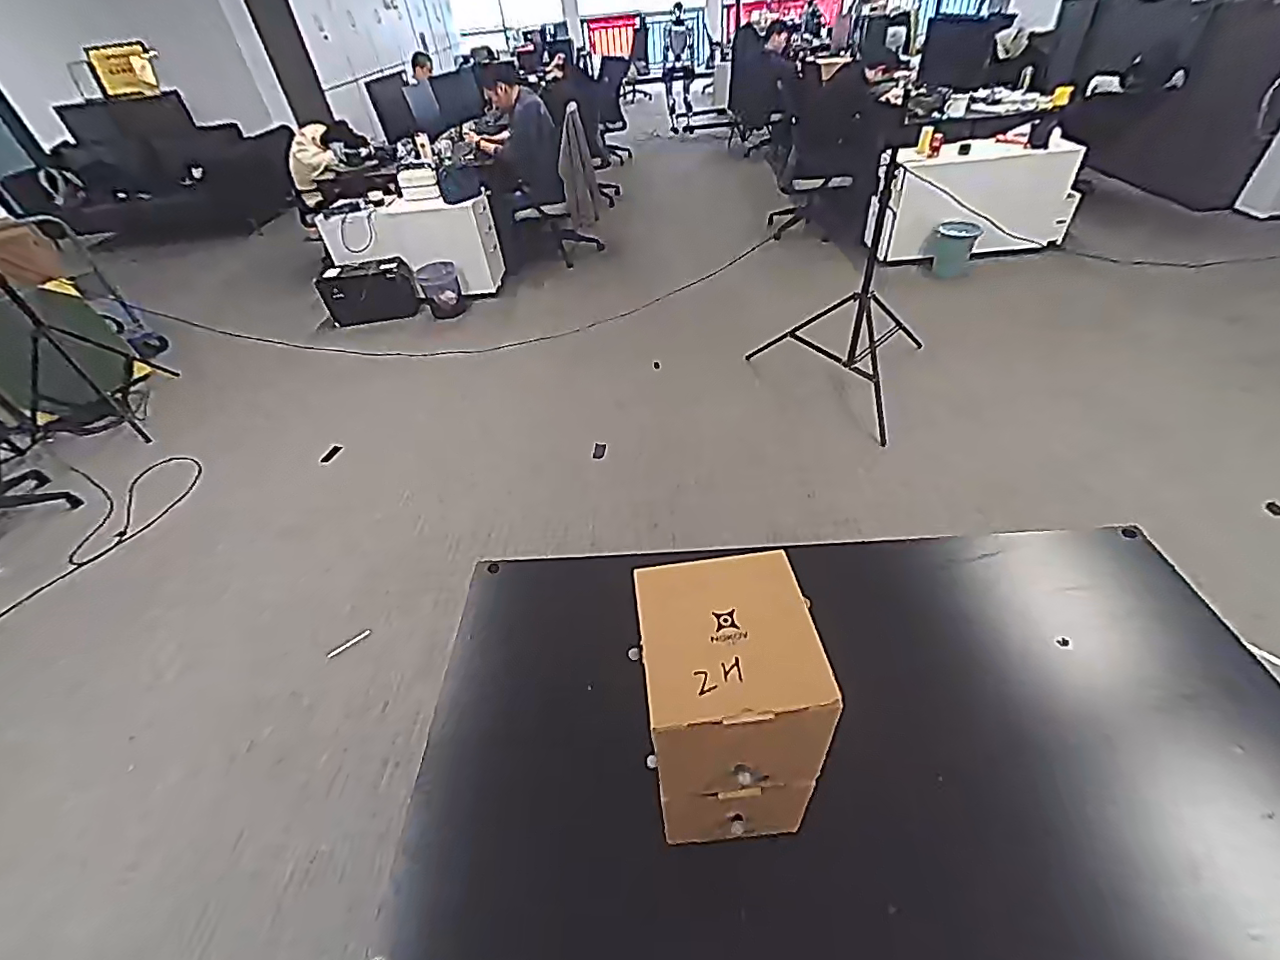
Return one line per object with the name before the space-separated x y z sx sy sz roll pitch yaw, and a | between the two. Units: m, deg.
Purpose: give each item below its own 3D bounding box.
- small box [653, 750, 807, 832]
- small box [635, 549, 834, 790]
small box | 0.102 0.327 0.689 0.168 0.176 0.179 -7 42 1
small box | 0.088 0.202 0.580 0.168 0.176 0.179 -8 42 0
